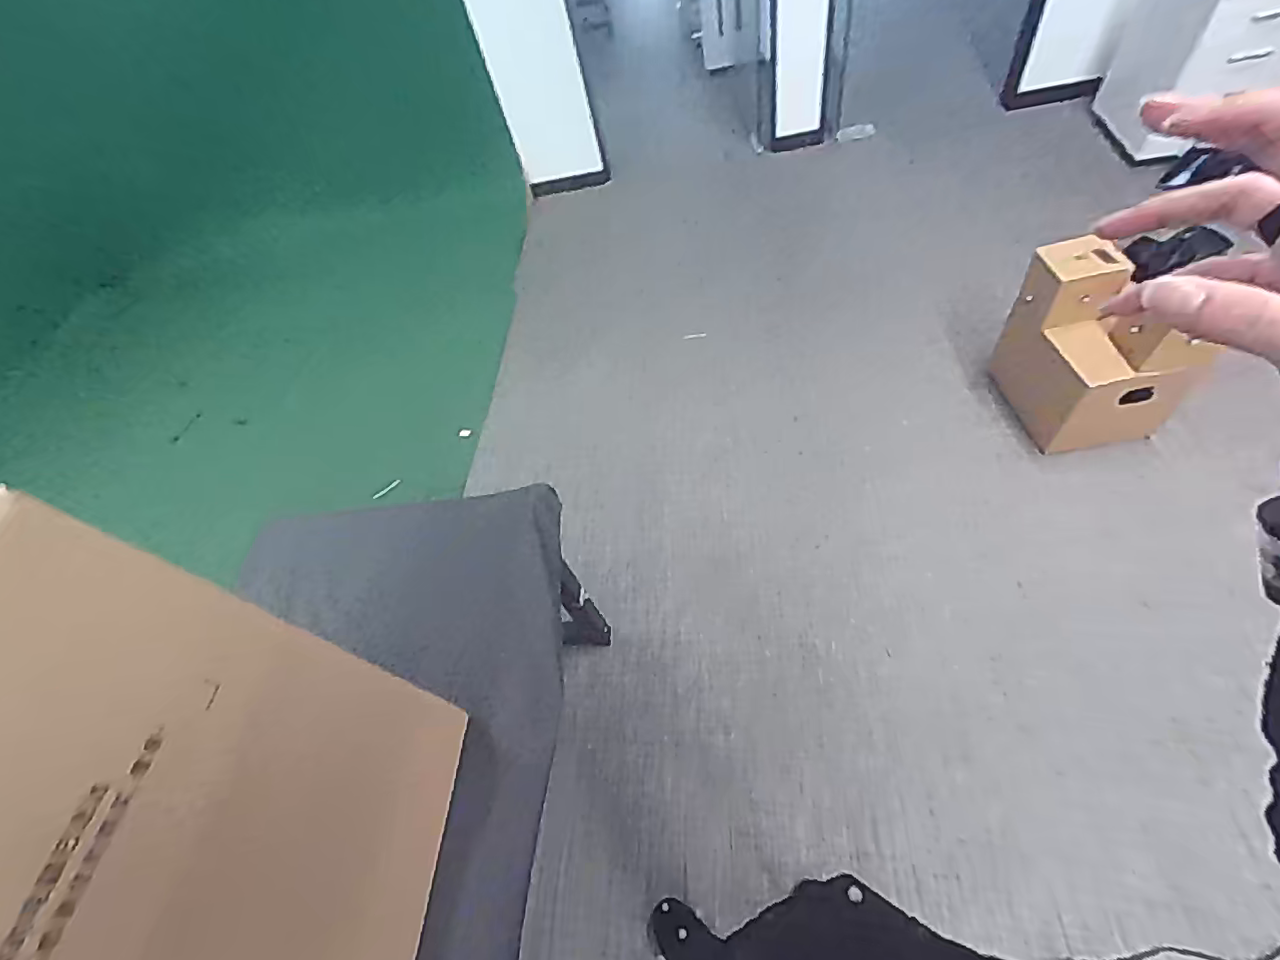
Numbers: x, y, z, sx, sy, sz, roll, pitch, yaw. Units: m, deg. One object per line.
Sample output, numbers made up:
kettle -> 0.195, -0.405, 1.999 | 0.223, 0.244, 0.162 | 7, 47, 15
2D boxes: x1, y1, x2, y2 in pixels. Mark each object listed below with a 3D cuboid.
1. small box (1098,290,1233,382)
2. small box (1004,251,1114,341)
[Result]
small box -> 1.365, -0.374, 1.427 | 0.179, 0.176, 0.168 | -4, 53, 7
small box -> 1.210, -0.532, 1.576 | 0.179, 0.176, 0.168 | -9, 53, 9
